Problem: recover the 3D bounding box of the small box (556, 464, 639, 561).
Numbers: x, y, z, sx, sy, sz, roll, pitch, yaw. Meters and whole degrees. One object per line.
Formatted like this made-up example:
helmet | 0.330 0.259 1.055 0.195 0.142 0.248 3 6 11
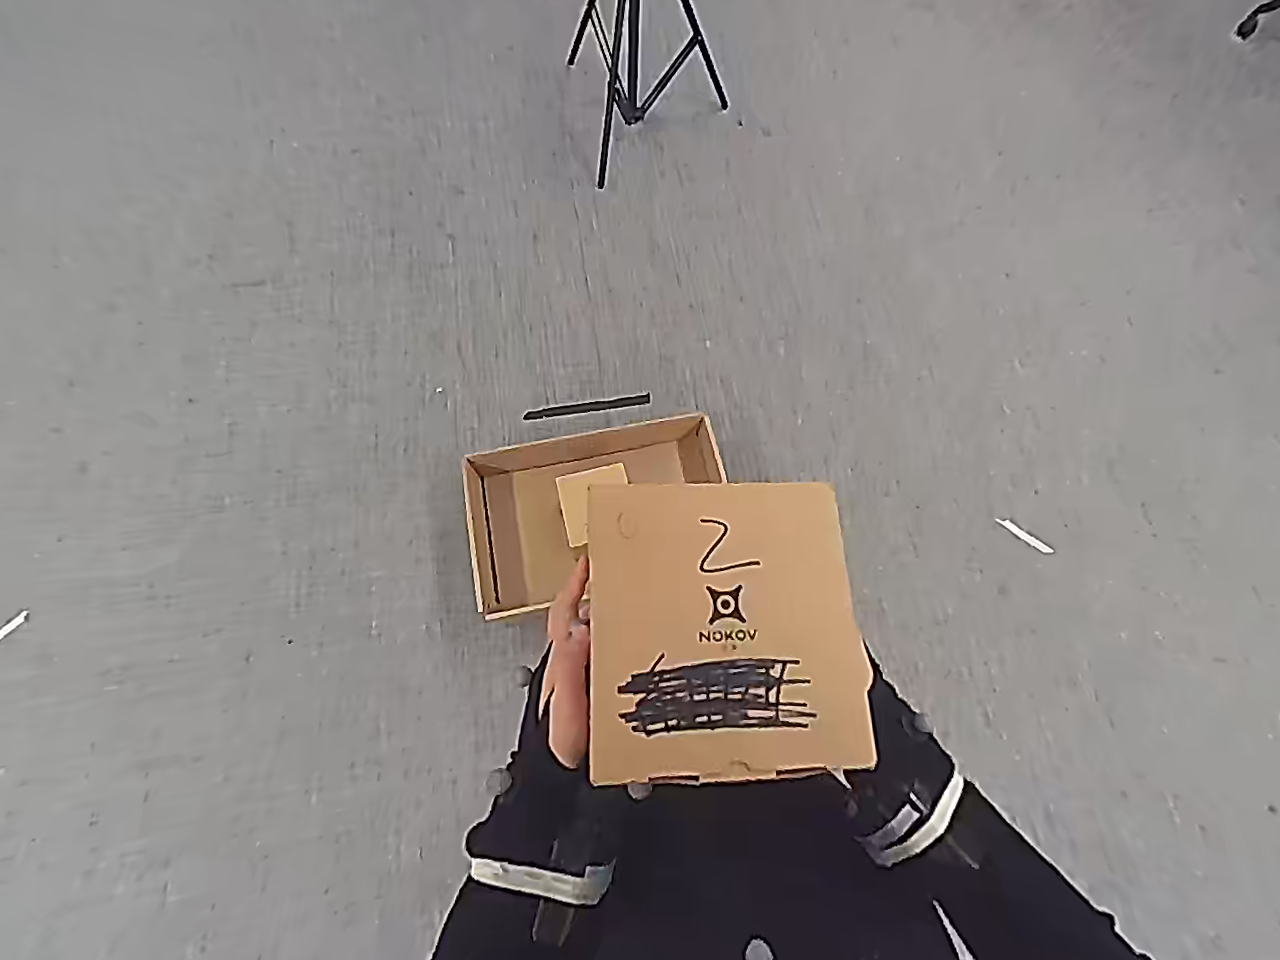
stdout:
small box | -0.105 0.083 1.322 0.168 0.176 0.179 -13 72 -6
